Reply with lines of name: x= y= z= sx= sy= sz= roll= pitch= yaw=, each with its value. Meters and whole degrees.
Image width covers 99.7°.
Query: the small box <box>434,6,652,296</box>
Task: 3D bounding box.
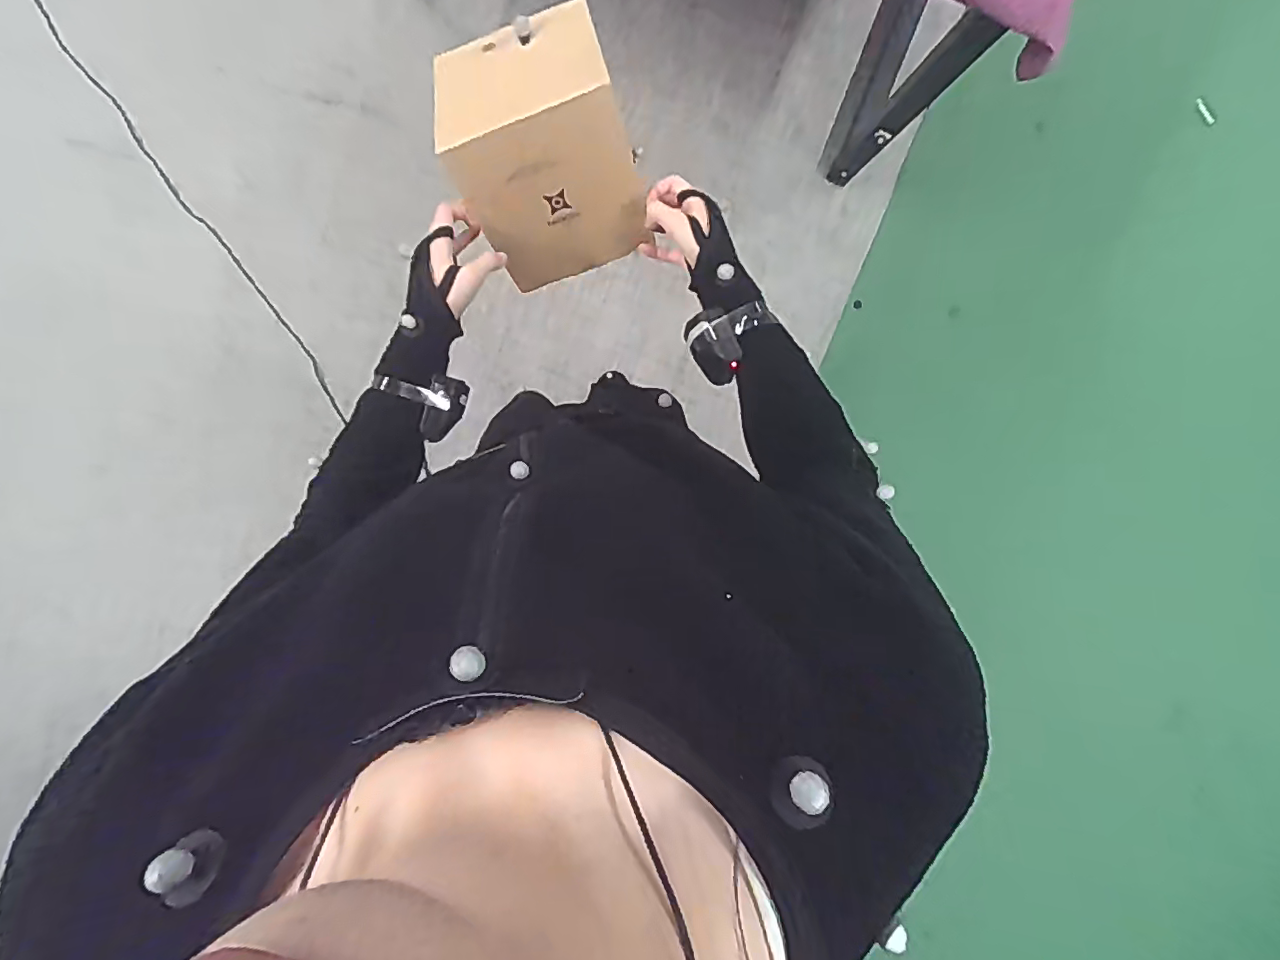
small box: x=-0.097 y=-0.338 z=0.573 sx=0.168 sy=0.179 sz=0.176 roll=-17 pitch=62 yaw=9
